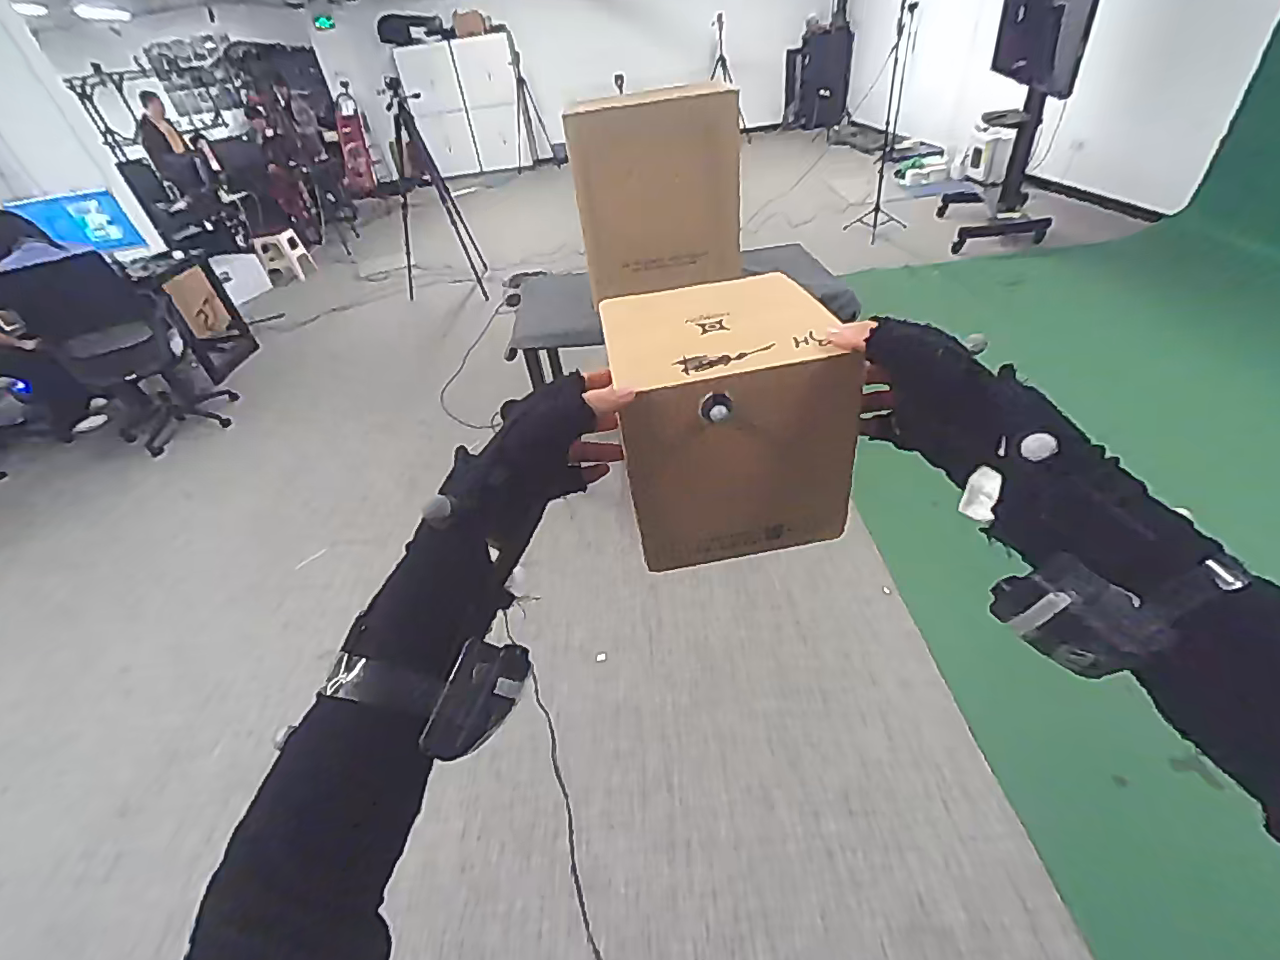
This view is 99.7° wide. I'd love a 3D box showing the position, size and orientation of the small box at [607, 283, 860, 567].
[{"bbox_3d":[0.068,-0.052,0.469,0.168,0.176,0.179,-11,36,0],"label":"small box"}]
